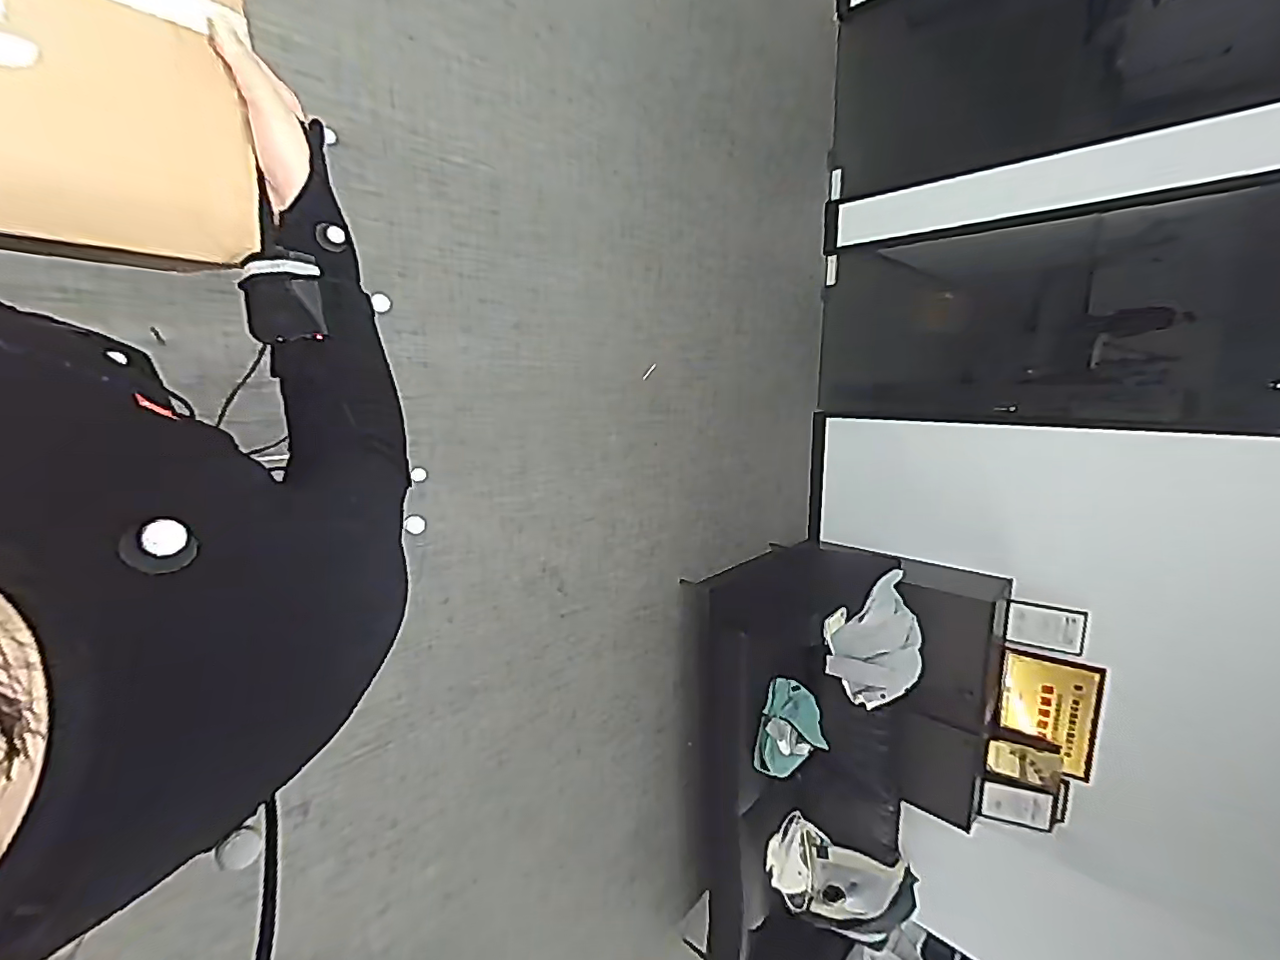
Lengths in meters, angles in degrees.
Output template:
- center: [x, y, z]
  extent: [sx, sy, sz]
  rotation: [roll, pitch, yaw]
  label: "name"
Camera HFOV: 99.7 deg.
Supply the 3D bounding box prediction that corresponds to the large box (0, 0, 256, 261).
- center: [-0.534, -0.334, 0.341]
  extent: [0.408, 0.320, 0.320]
  rotation: [-10, 112, -47]
  label: "large box"
